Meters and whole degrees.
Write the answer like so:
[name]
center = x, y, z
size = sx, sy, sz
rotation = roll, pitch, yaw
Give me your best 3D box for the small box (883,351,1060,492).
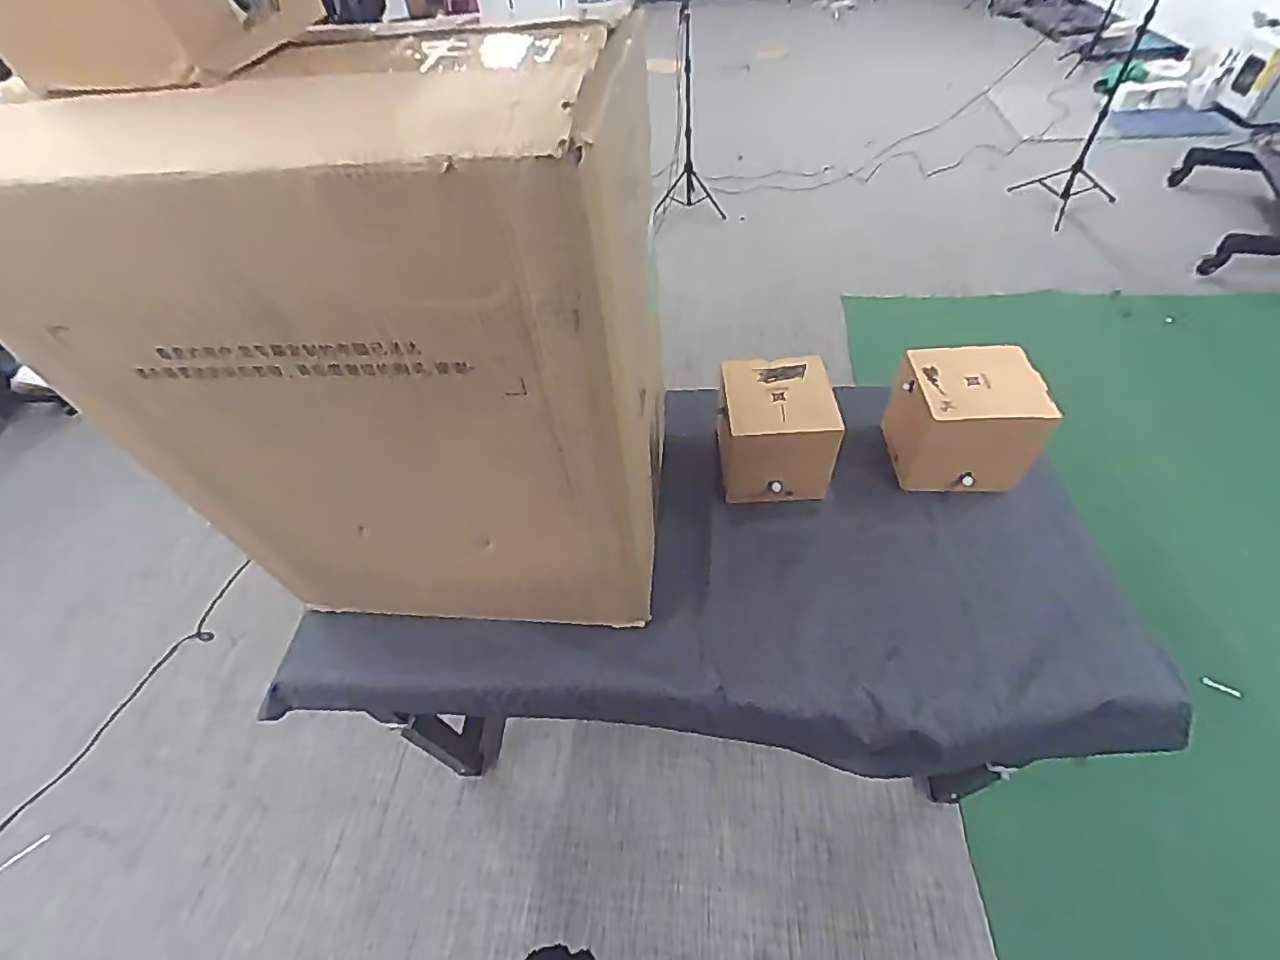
[small box]
center = 0.527, -0.093, 0.890
size = 0.179, 0.176, 0.168
rotation = 0, 50, 6
